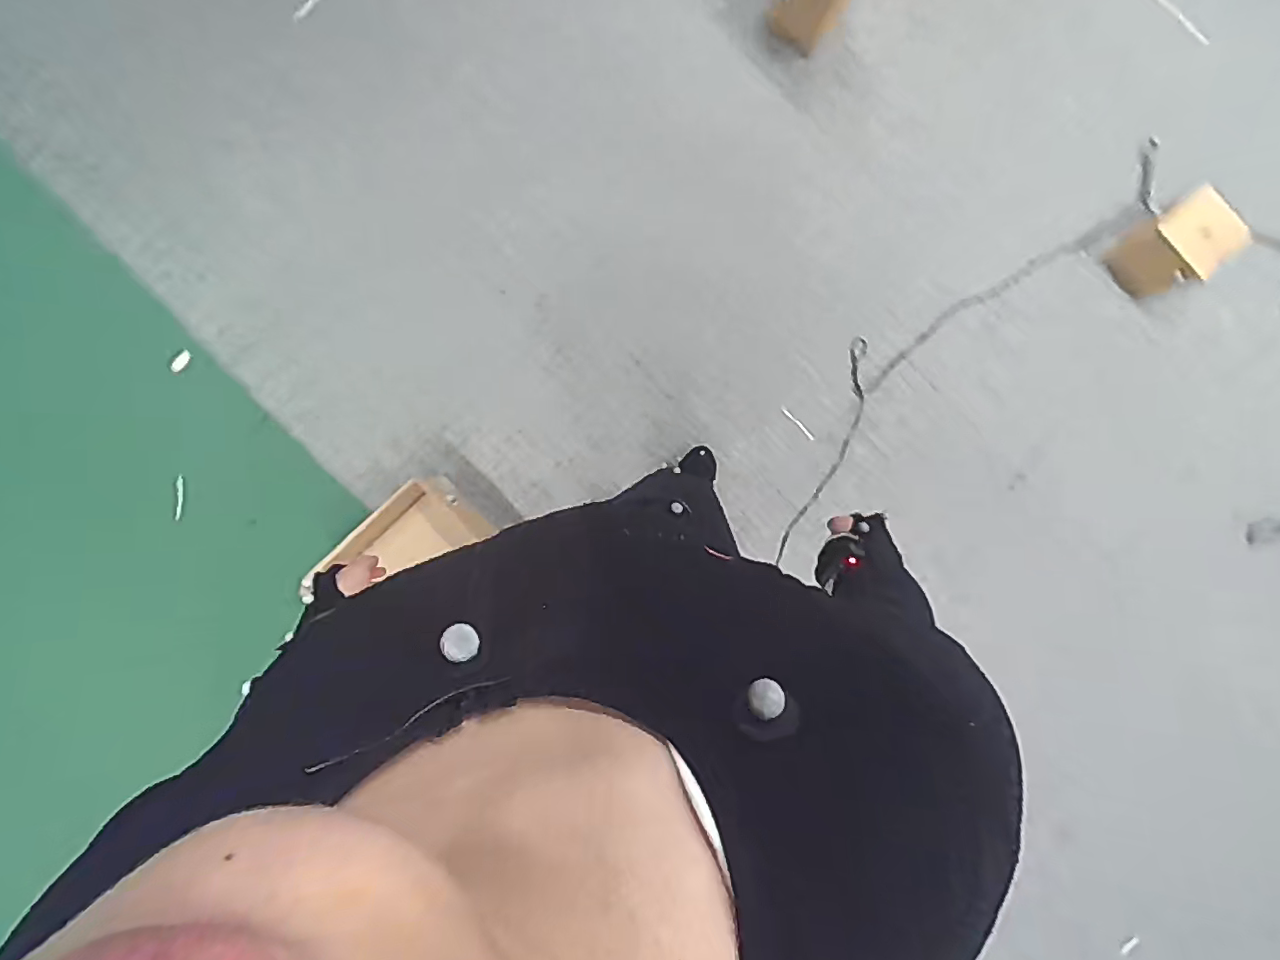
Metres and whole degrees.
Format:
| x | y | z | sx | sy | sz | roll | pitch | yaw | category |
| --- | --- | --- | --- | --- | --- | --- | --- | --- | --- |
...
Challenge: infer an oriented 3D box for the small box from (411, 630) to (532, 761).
| x | y | z | sx | sy | sz | roll | pitch | yaw | category |
| --- | --- | --- | --- | --- | --- | --- | --- | --- | --- |
| -0.356 | 0.460 | 1.186 | 0.168 | 0.176 | 0.179 | 45 | 90 | 0 | small box |

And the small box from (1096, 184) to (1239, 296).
| x | y | z | sx | sy | sz | roll | pitch | yaw | category |
| --- | --- | --- | --- | --- | --- | --- | --- | --- | --- |
| 1.367 | -0.616 | 1.416 | 0.168 | 0.176 | 0.179 | -44 | 92 | 0 | small box |
